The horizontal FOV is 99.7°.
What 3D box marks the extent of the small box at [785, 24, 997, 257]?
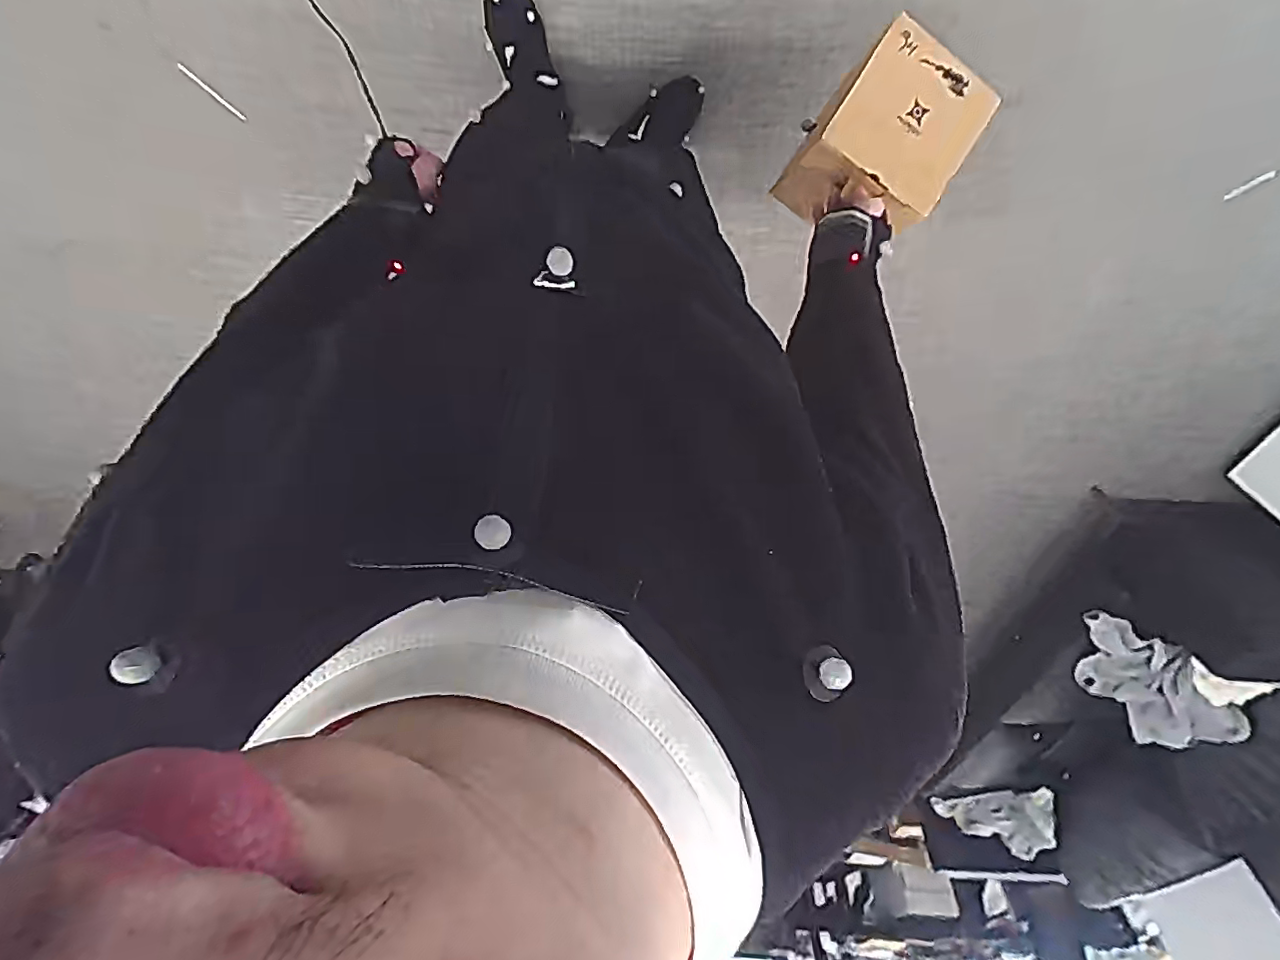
[{"bbox_3d":[0.320,-0.437,0.734,0.168,0.176,0.179,30,92,-7],"label":"small box"}]
